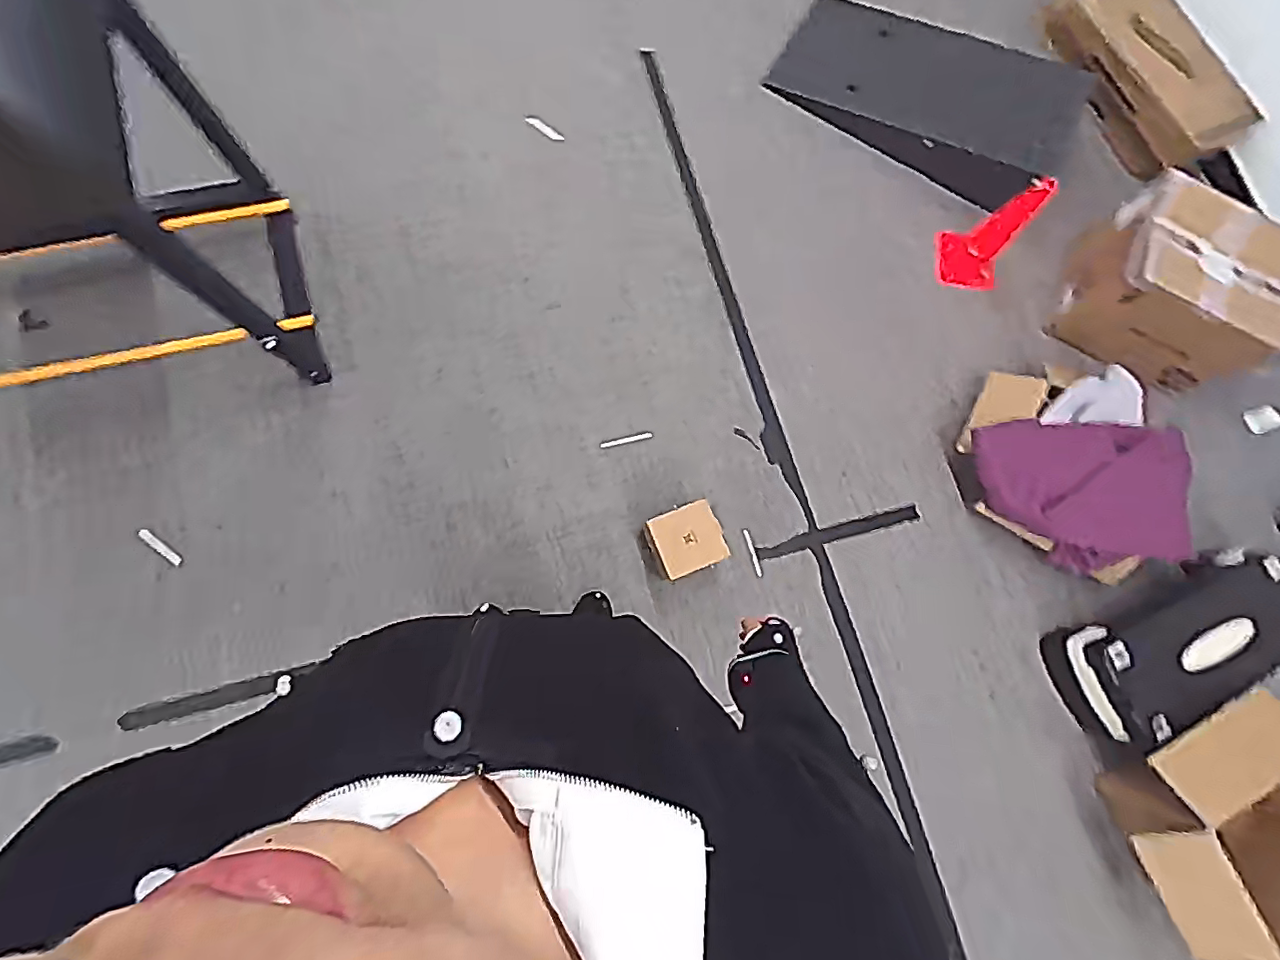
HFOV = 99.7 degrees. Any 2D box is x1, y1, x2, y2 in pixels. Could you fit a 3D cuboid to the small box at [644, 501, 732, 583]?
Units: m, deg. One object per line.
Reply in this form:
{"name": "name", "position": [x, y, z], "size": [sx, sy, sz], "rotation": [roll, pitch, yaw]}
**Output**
{"name": "small box", "position": [0.122, 0.171, 1.467], "size": [0.179, 0.176, 0.168], "rotation": [-21, 81, -8]}
